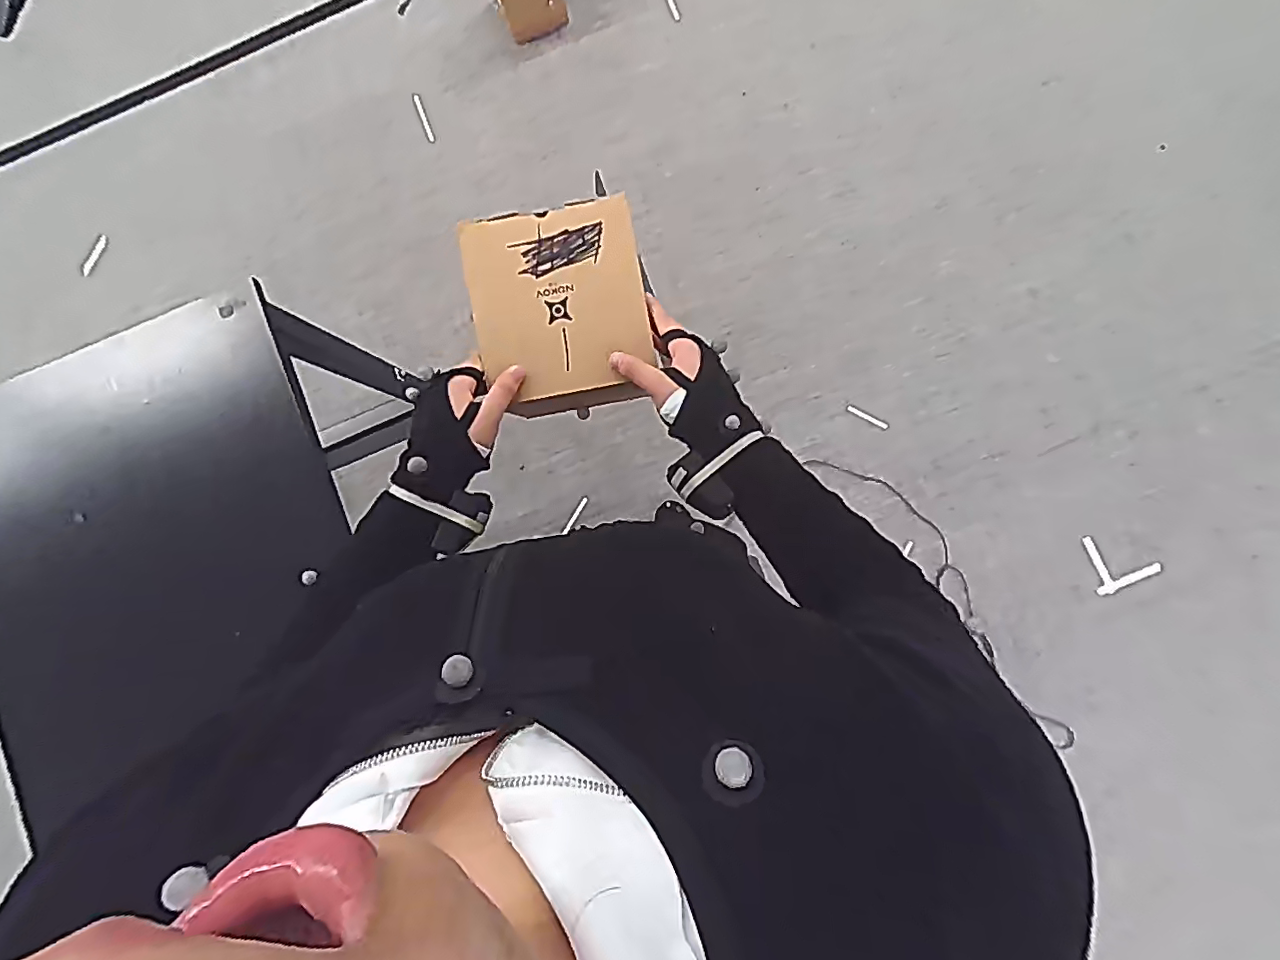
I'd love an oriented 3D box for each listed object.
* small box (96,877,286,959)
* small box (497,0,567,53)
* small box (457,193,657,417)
[{"bbox_3d":[-0.591,0.657,0.691,0.179,0.176,0.168,-19,85,2],"label":"small box"},{"bbox_3d":[-0.318,-1.380,1.537,0.179,0.176,0.168,-22,85,2],"label":"small box"},{"bbox_3d":[-0.078,-0.173,0.588,0.168,0.176,0.179,-10,92,1],"label":"small box"}]
